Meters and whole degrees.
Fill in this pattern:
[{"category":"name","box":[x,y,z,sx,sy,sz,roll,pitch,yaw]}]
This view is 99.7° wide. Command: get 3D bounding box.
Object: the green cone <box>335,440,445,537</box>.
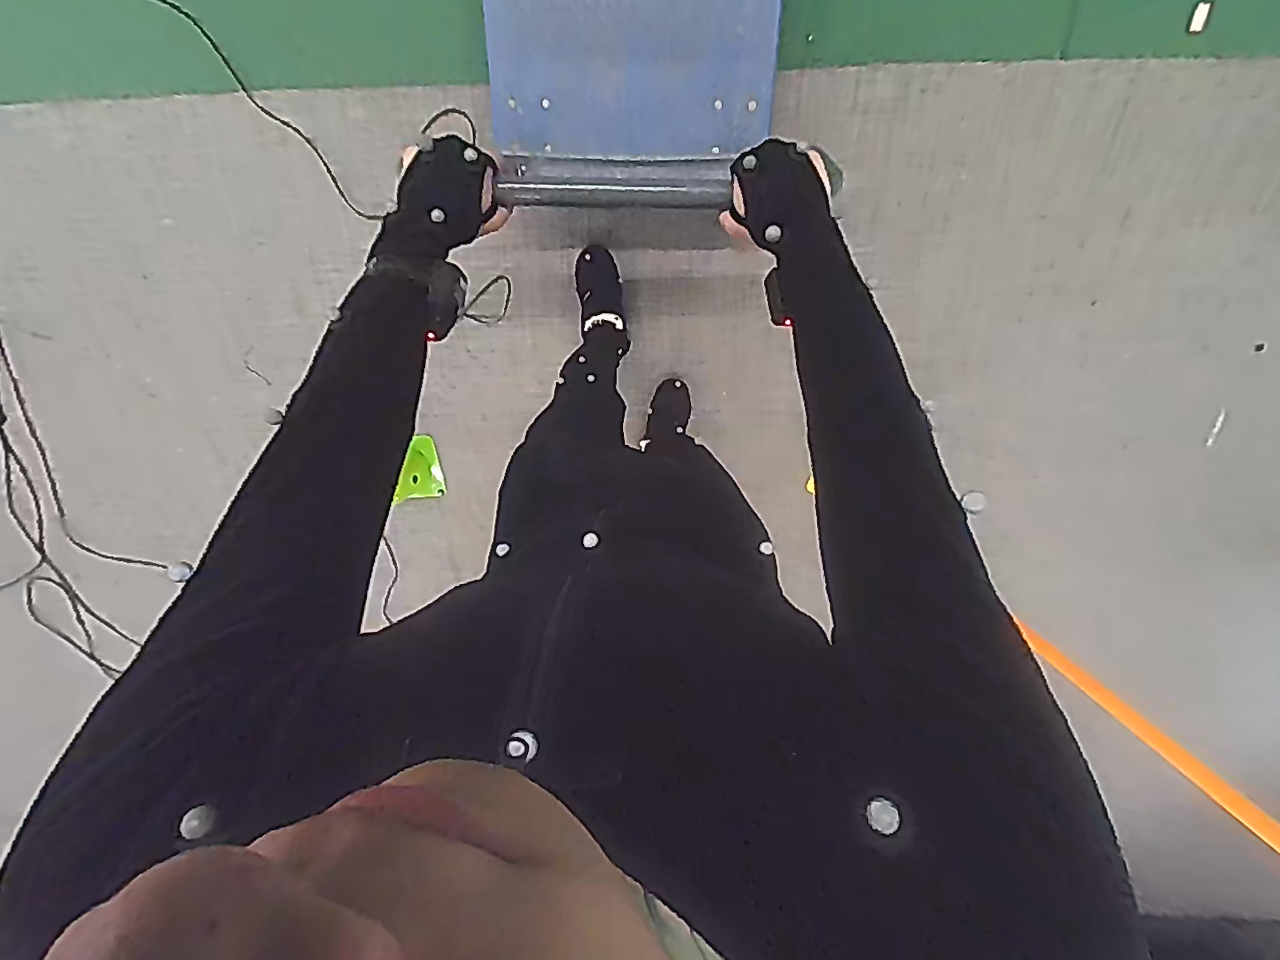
[{"category":"green cone","box":[-0.713,0.046,1.483,0.202,0.368,0.200,-4,114,5]}]
